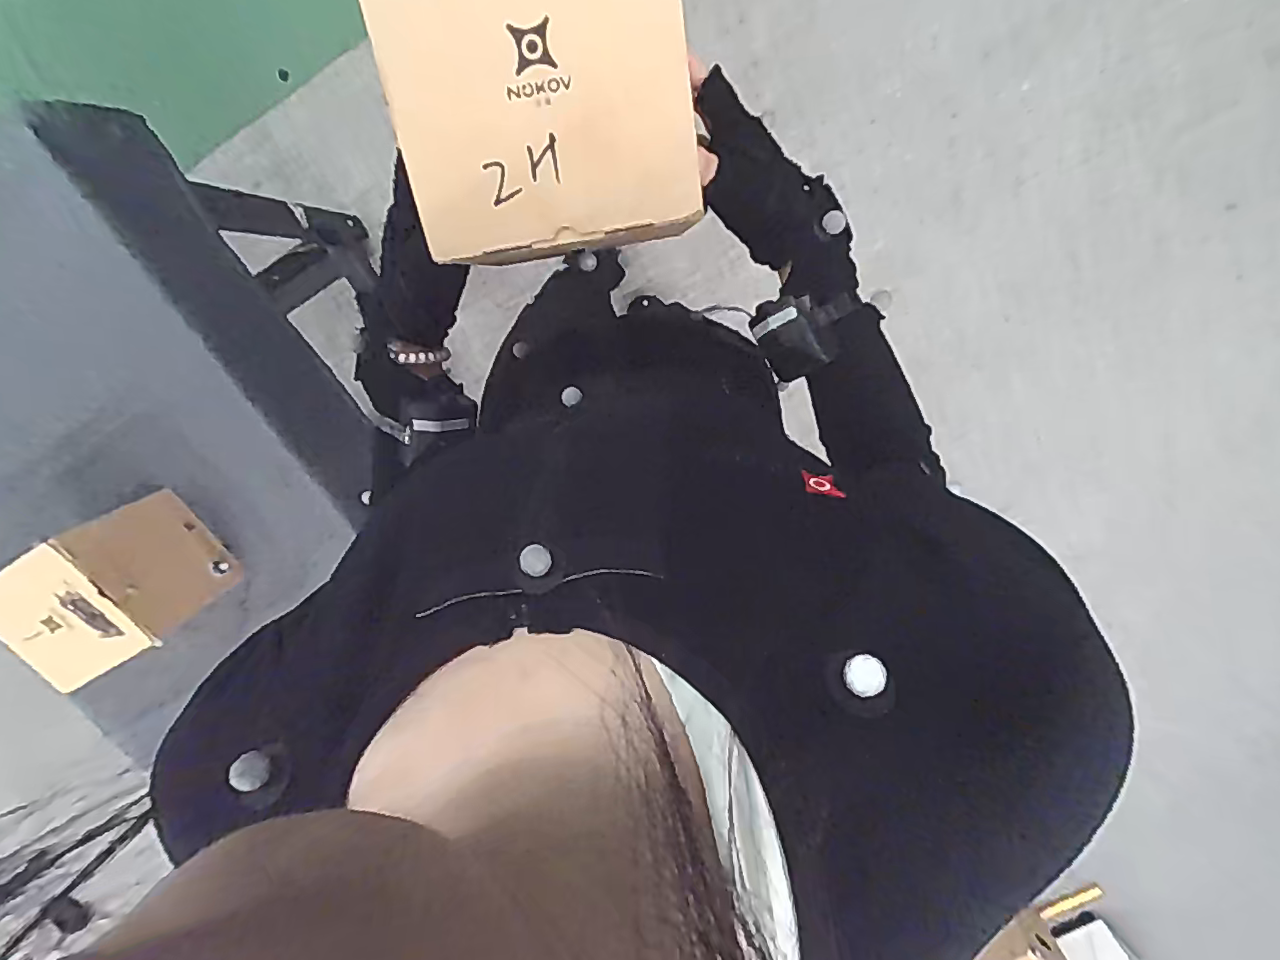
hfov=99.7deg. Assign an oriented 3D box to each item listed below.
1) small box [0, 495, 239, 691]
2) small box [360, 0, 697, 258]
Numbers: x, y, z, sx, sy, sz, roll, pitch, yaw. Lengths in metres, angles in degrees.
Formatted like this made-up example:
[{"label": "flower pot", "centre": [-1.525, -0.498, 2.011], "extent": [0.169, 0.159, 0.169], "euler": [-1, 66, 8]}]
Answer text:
[{"label": "small box", "centre": [-0.707, 0.146, 0.745], "extent": [0.179, 0.176, 0.168], "euler": [-28, 107, 13]}, {"label": "small box", "centre": [-0.061, -0.254, 0.363], "extent": [0.168, 0.176, 0.179], "euler": [-9, 113, 3]}]
